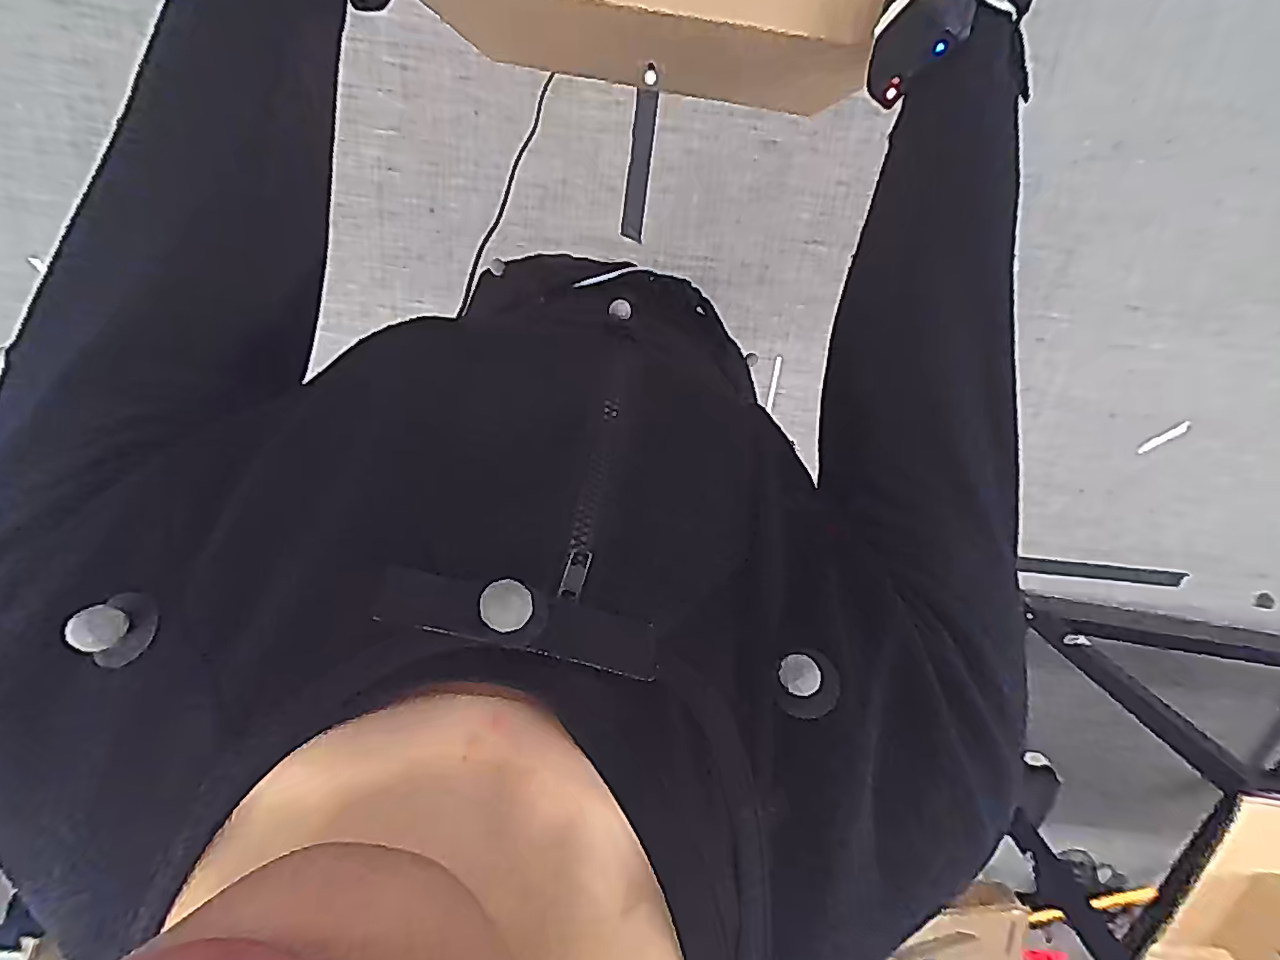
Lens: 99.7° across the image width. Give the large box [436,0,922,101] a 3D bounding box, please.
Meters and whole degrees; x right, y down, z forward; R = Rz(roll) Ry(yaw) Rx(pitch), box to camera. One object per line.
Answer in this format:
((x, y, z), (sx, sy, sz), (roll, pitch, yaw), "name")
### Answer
((0.036, -0.554, 0.462), (0.408, 0.320, 0.320), (9, 116, -1), "large box")
